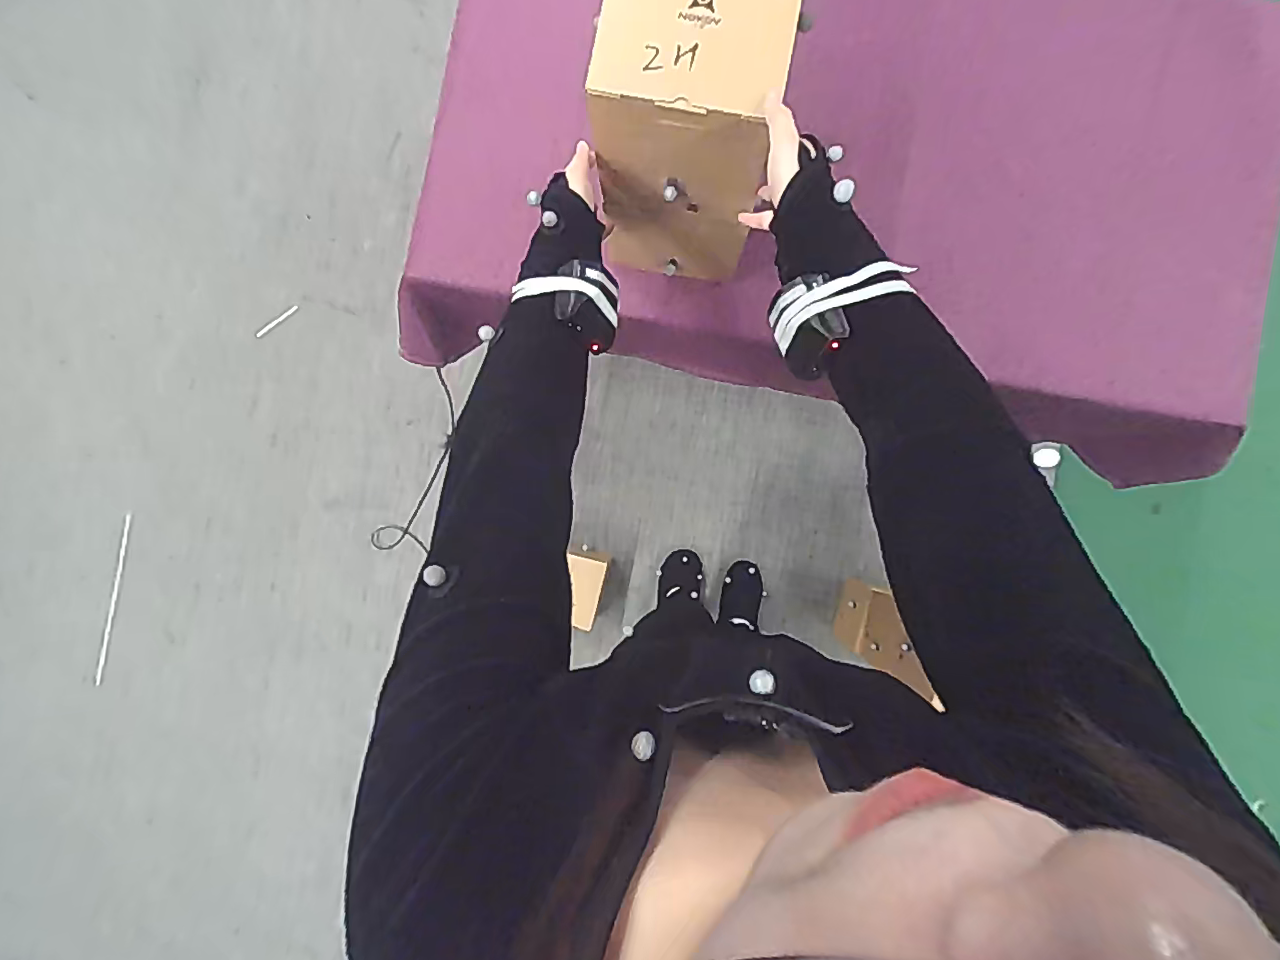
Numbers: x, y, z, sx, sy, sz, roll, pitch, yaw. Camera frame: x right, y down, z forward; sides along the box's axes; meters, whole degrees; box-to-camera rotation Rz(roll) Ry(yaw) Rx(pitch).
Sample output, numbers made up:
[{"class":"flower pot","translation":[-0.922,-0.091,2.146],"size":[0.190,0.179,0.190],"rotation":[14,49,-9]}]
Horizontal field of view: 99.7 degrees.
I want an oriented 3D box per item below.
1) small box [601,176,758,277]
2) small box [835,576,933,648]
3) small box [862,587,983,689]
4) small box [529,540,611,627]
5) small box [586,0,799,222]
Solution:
[{"class":"small box","translation":[0.054,-0.382,0.701],"size":[0.179,0.176,0.168],"rotation":[9,88,1]},{"class":"small box","translation":[0.627,0.352,1.395],"size":[0.179,0.176,0.168],"rotation":[15,89,1]},{"class":"small box","translation":[0.631,0.350,1.232],"size":[0.179,0.176,0.168],"rotation":[12,90,1]},{"class":"small box","translation":[-0.175,0.264,1.418],"size":[0.168,0.176,0.179],"rotation":[14,88,1]},{"class":"small box","translation":[0.051,-0.393,0.535],"size":[0.168,0.176,0.179],"rotation":[11,88,3]}]
